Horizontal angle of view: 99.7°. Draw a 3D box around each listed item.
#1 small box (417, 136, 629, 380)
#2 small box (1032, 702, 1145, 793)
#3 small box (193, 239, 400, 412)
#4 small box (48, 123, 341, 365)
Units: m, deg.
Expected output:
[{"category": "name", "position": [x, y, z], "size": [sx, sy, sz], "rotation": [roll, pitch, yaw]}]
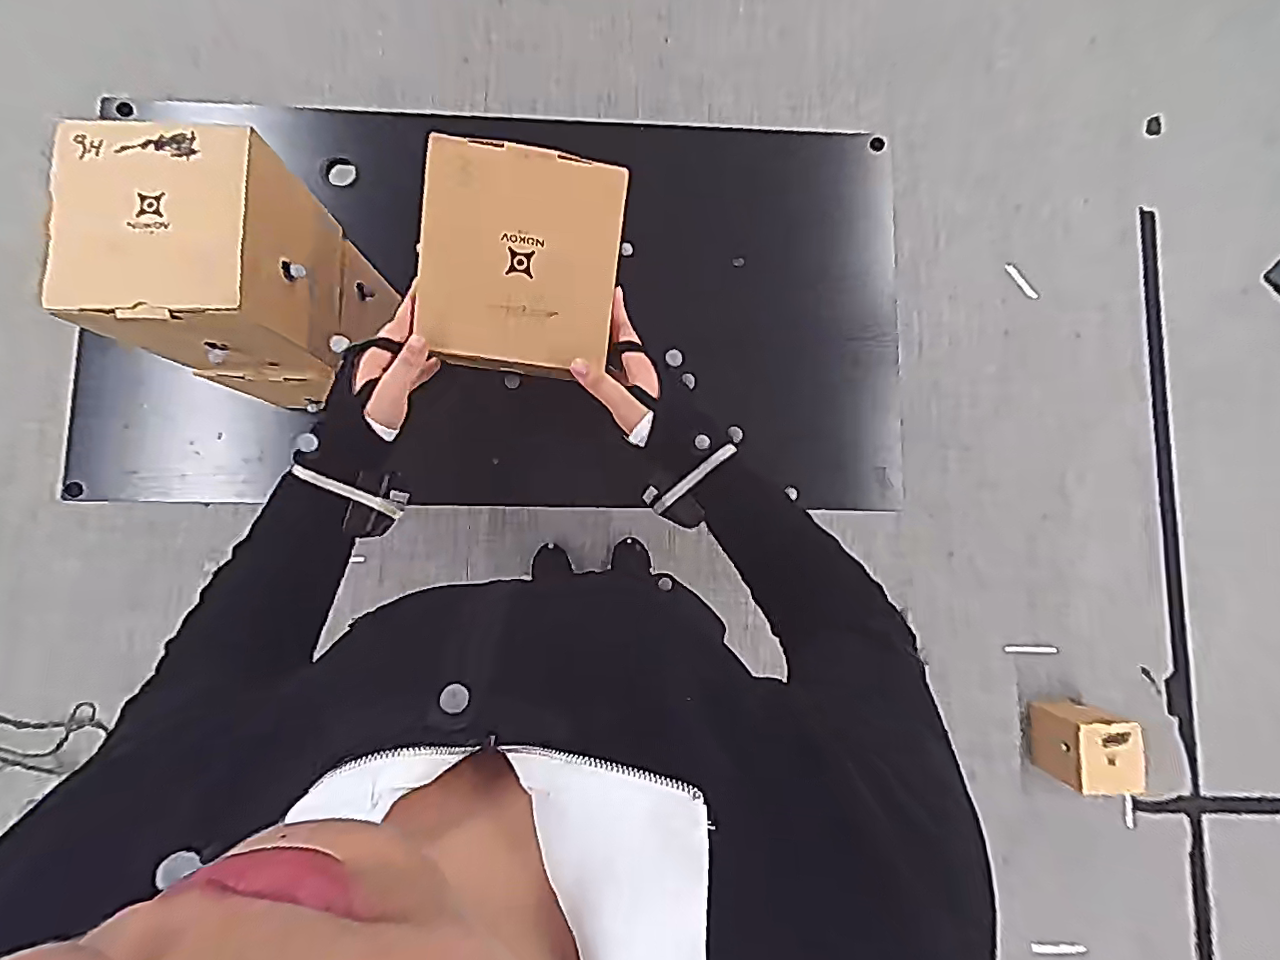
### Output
[{"category": "small box", "position": [-0.108, -0.197, 0.534], "size": [0.168, 0.176, 0.179], "rotation": [6, 99, -6]}, {"category": "small box", "position": [1.181, 0.701, 1.437], "size": [0.168, 0.176, 0.179], "rotation": [0, 86, -2]}, {"category": "small box", "position": [-0.434, -0.198, 0.715], "size": [0.168, 0.176, 0.179], "rotation": [2, 85, -2]}, {"category": "small box", "position": [-0.429, -0.223, 0.553], "size": [0.168, 0.176, 0.179], "rotation": [0, 85, -3]}]
